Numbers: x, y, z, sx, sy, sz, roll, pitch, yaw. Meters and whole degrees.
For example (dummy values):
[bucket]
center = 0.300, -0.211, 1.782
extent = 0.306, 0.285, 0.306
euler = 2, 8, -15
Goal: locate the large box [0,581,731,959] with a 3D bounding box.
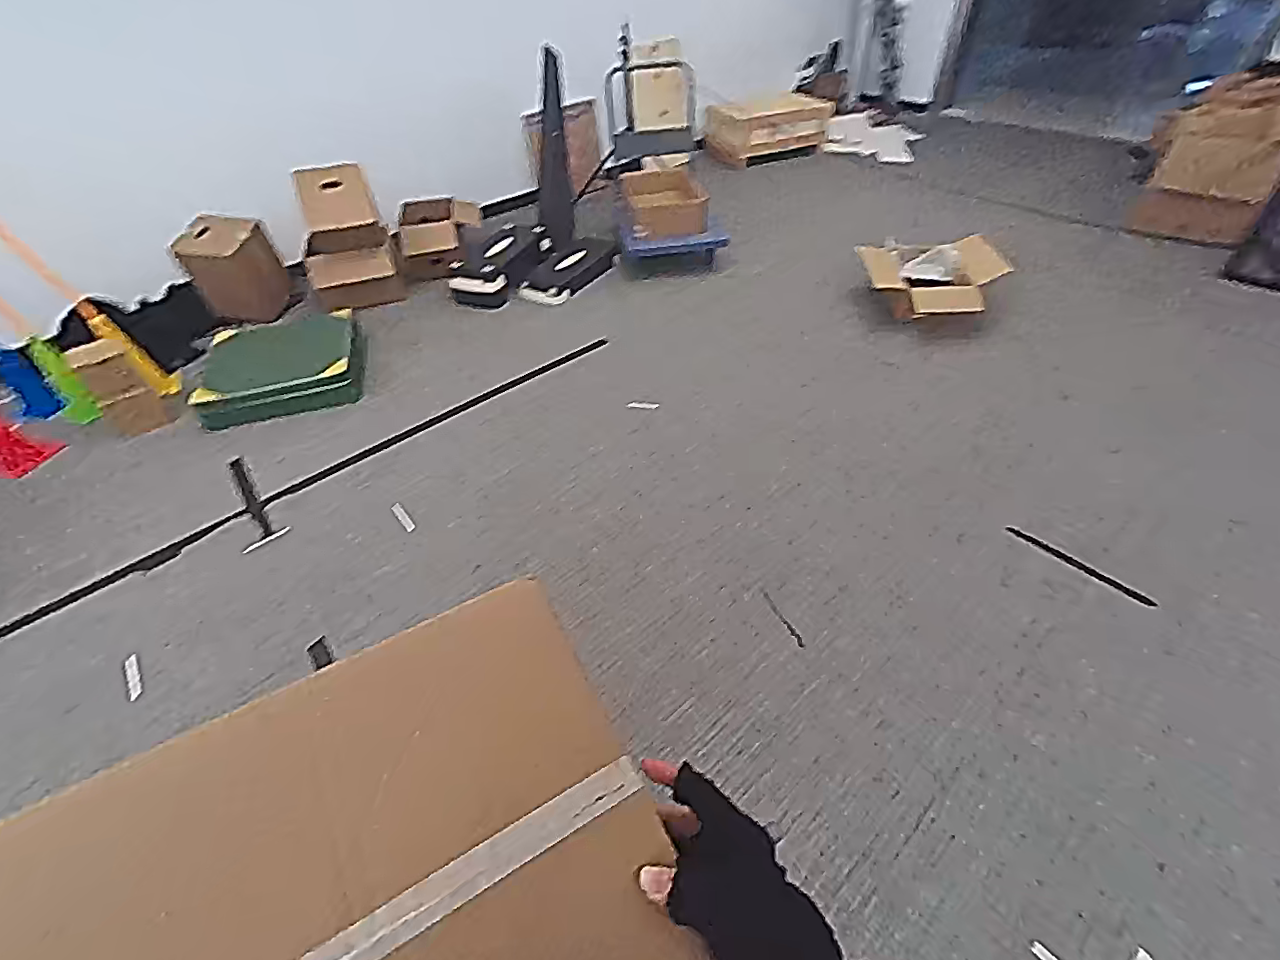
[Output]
[large box]
center = -0.186, 0.349, 0.411
extent = 0.408, 0.320, 0.320
euler = -24, 62, -19
